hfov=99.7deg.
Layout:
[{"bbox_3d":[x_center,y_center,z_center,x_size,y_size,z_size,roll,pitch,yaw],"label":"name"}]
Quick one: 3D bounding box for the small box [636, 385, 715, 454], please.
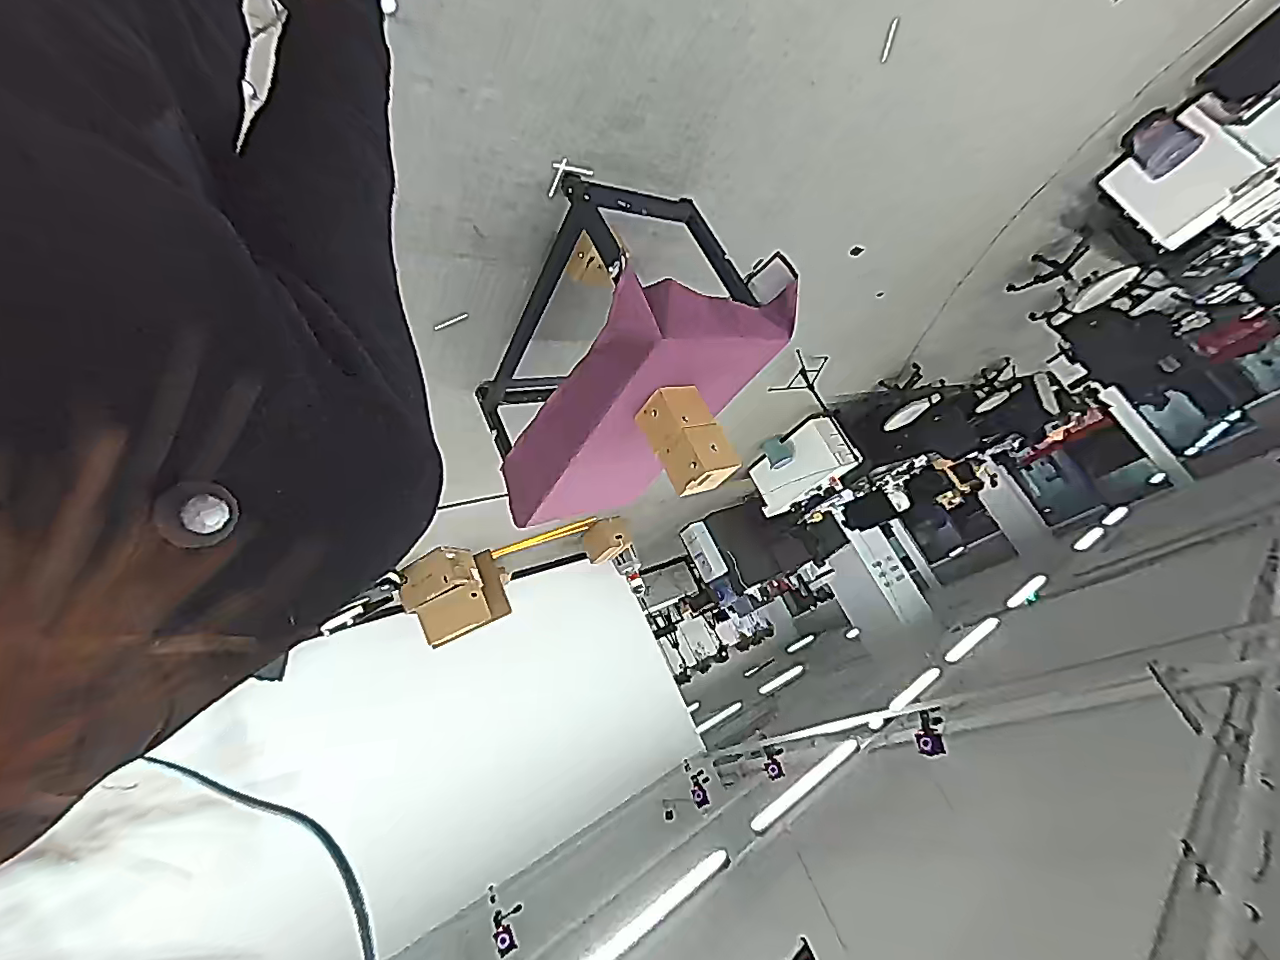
[{"bbox_3d":[0.118,-0.212,1.854,0.179,0.176,0.168,-11,157,-38],"label":"small box"}]
